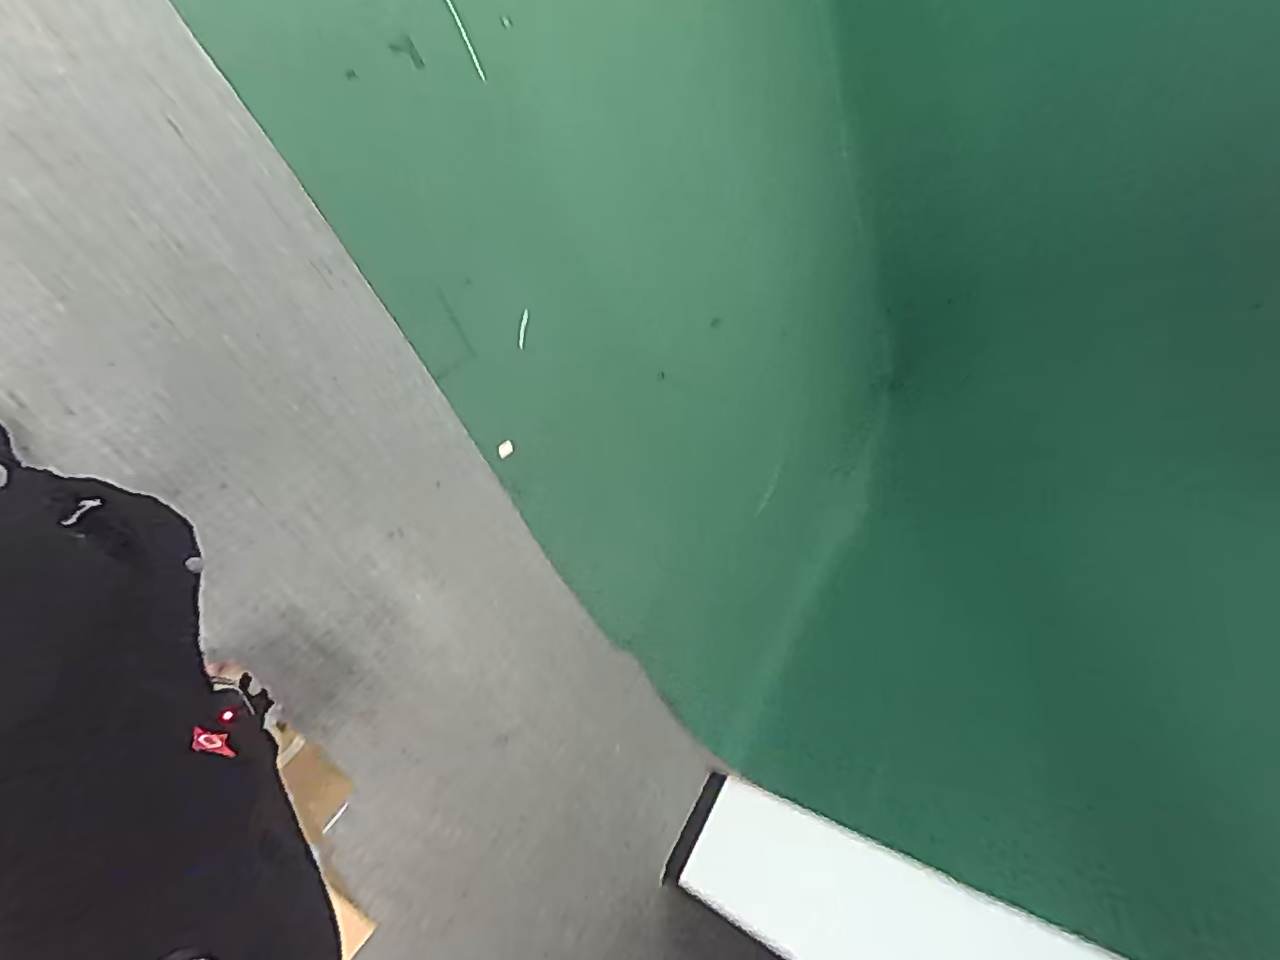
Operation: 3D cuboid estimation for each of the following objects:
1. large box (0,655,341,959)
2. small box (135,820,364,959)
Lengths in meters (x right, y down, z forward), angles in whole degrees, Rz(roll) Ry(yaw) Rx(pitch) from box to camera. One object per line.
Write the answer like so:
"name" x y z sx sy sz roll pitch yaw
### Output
"large box" -0.847 0.597 0.962 0.408 0.320 0.320 -49 125 -33
"small box" -0.516 0.601 0.720 0.168 0.176 0.179 -44 123 -36
